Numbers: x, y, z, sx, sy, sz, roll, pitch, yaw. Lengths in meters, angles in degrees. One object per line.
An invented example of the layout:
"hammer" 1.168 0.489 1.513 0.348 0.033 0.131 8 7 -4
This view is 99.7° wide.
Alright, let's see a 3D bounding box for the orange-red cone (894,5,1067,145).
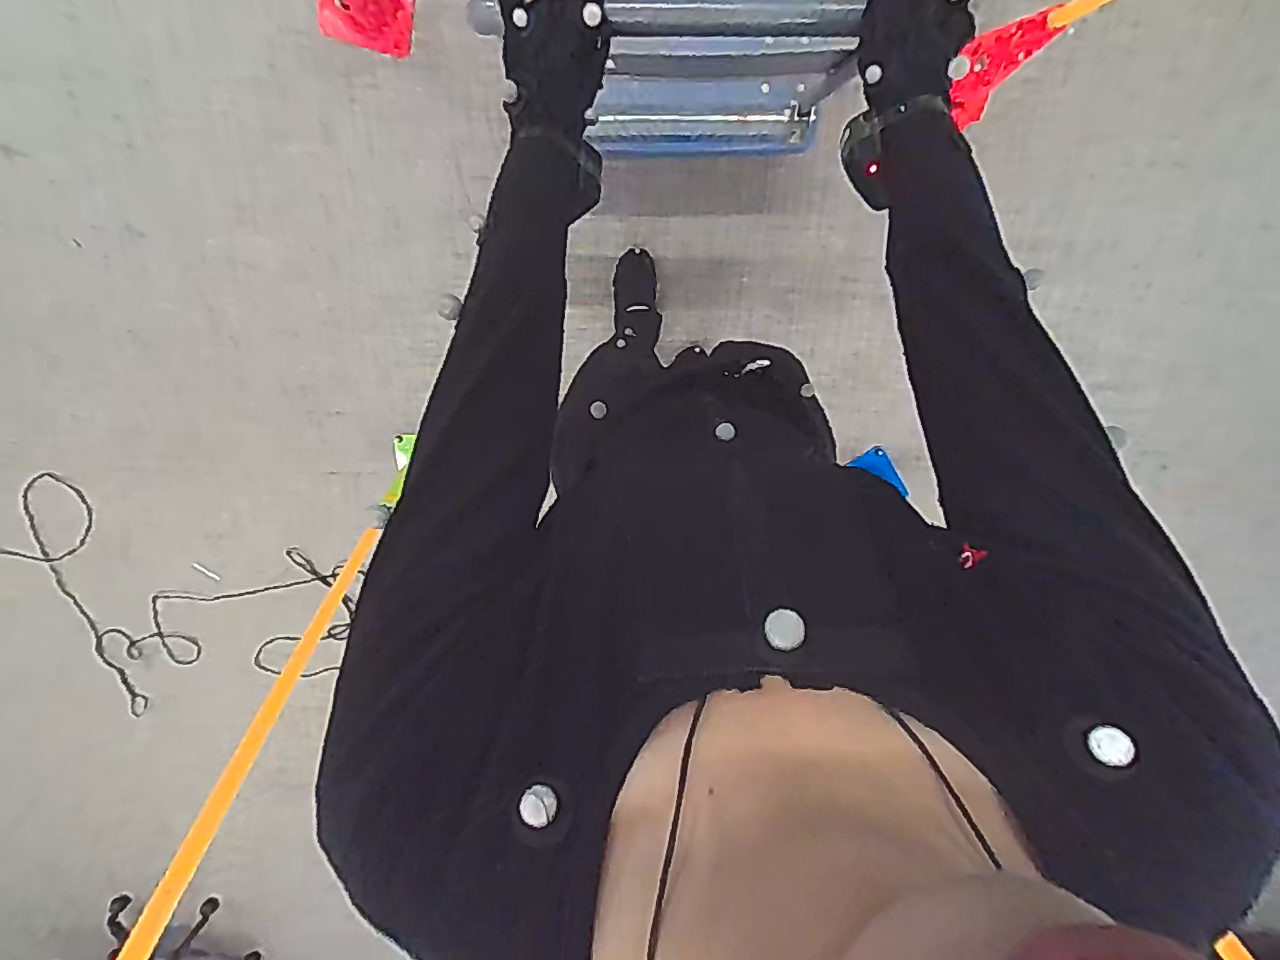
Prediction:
"orange-red cone" 0.691 -0.822 1.057 0.198 0.360 0.199 12 111 -4
